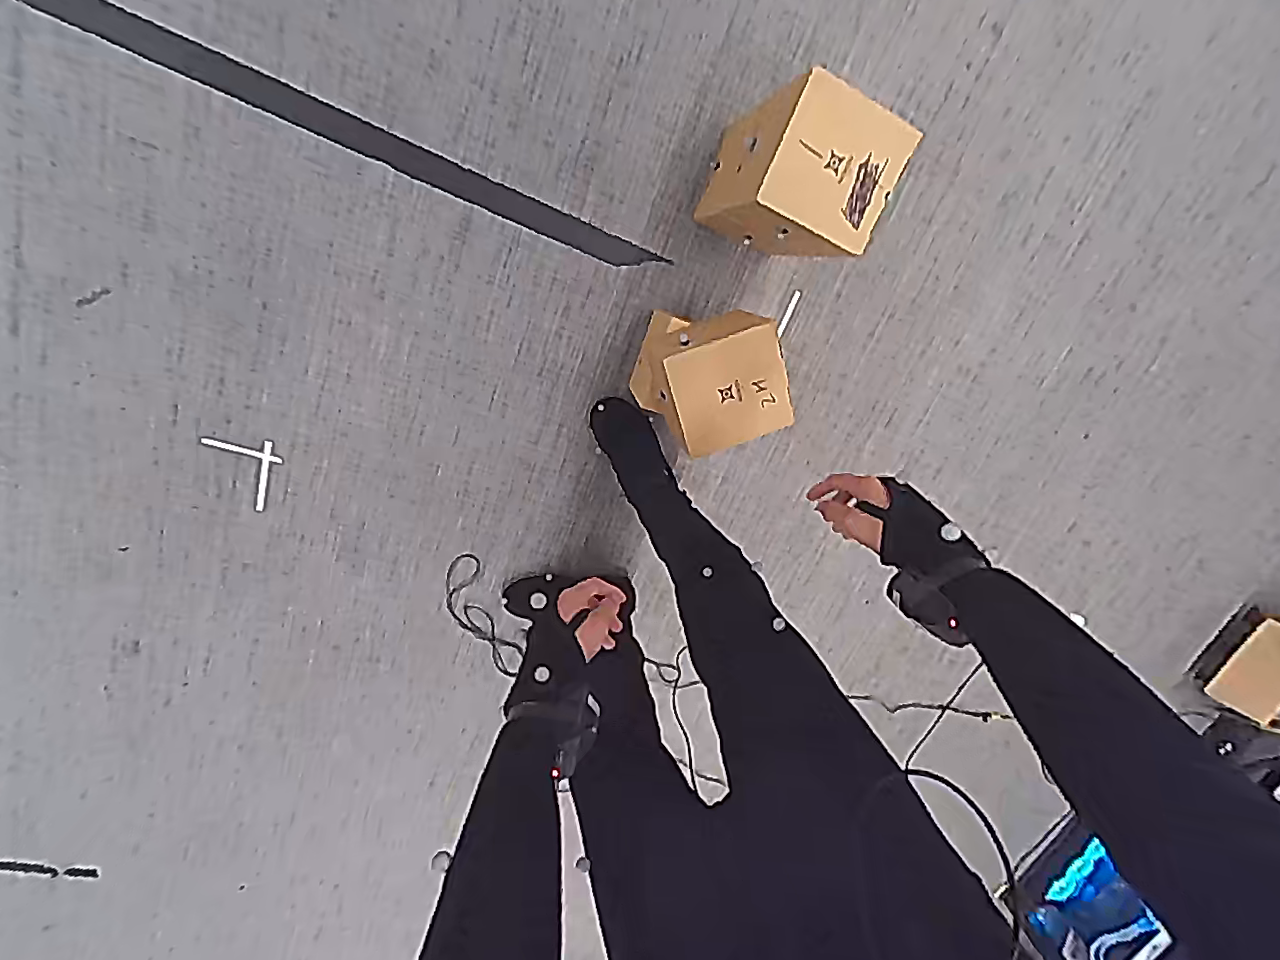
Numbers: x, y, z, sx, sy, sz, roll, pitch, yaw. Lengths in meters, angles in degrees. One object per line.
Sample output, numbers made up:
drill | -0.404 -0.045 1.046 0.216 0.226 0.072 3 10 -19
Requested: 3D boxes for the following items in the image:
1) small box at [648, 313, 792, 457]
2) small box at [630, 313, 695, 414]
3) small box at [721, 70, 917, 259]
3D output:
small box | 0.119 -0.161 0.877 0.179 0.176 0.168 -20 115 -2
small box | 0.091 -0.211 1.031 0.179 0.176 0.168 15 109 -16
small box | 0.244 -0.437 0.781 0.179 0.176 0.168 19 107 -16
